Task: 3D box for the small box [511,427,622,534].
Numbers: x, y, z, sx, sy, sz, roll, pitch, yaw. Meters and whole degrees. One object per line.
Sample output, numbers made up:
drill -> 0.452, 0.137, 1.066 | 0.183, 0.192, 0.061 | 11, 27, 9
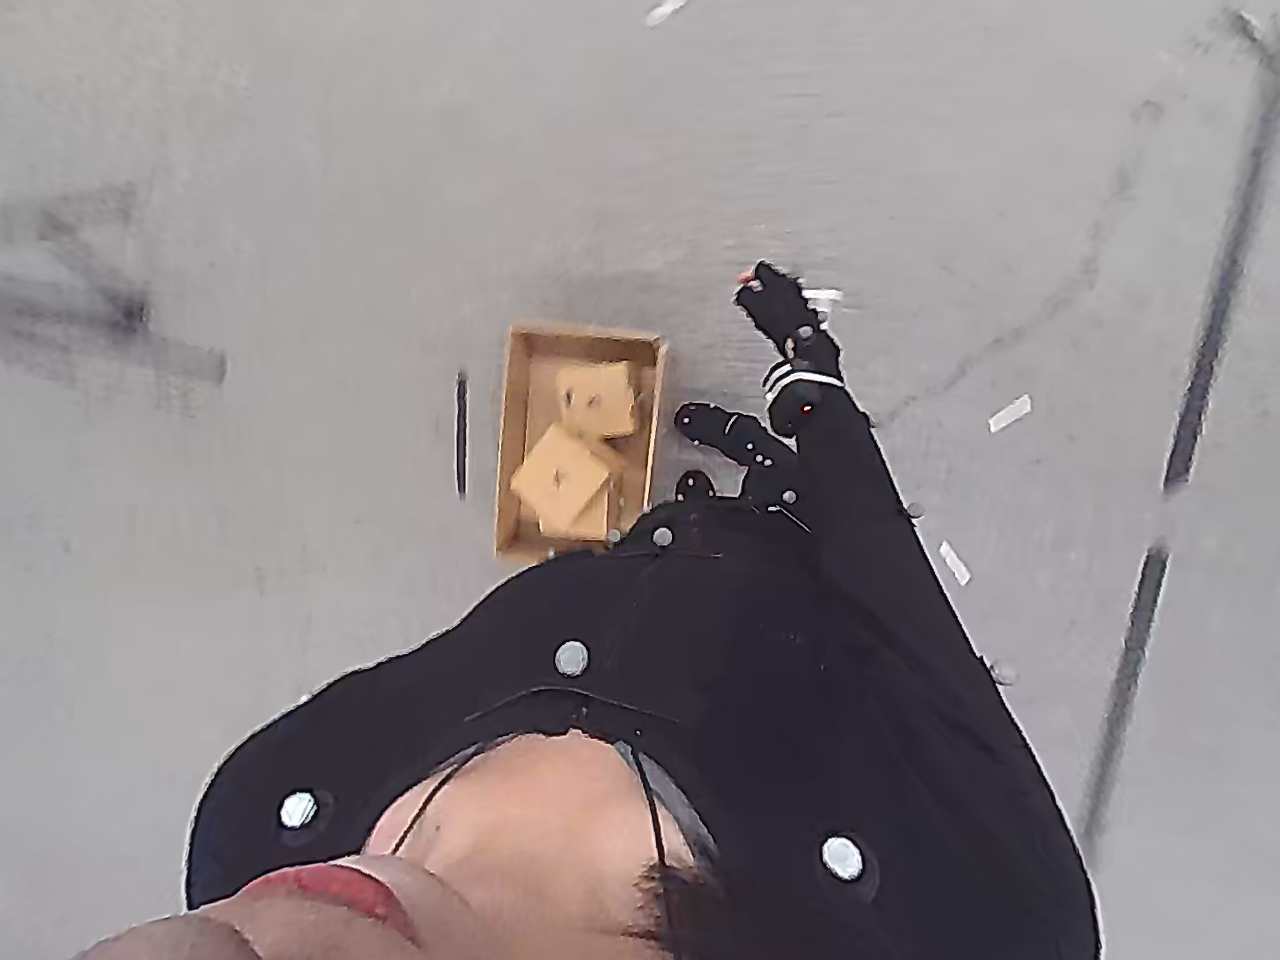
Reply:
small box -> -0.157, -0.009, 1.242 | 0.168, 0.176, 0.179 | 38, 104, 5
